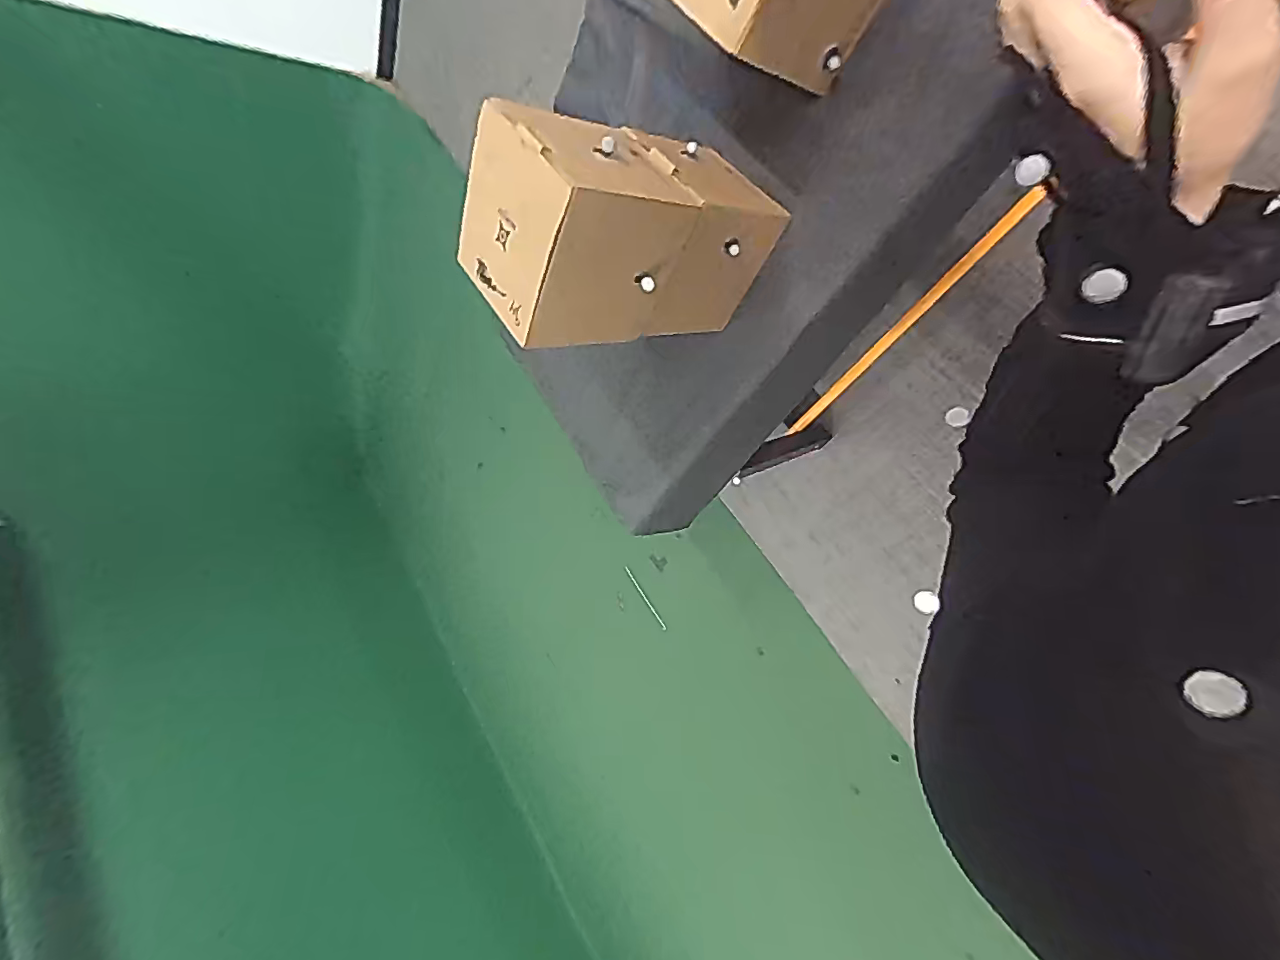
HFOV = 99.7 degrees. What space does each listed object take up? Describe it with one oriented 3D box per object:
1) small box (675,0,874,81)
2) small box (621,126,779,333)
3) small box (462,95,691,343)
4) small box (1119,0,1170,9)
[{"bbox_3d":[0.138,-0.530,0.528,0.179,0.176,0.168,57,137,19],"label":"small box"},{"bbox_3d":[0.053,-0.315,0.702,0.168,0.176,0.179,54,137,23],"label":"small box"},{"bbox_3d":[-0.070,-0.275,0.599,0.168,0.176,0.179,53,136,22],"label":"small box"},{"bbox_3d":[0.232,-0.307,0.177,0.168,0.176,0.179,-23,104,47],"label":"small box"}]
